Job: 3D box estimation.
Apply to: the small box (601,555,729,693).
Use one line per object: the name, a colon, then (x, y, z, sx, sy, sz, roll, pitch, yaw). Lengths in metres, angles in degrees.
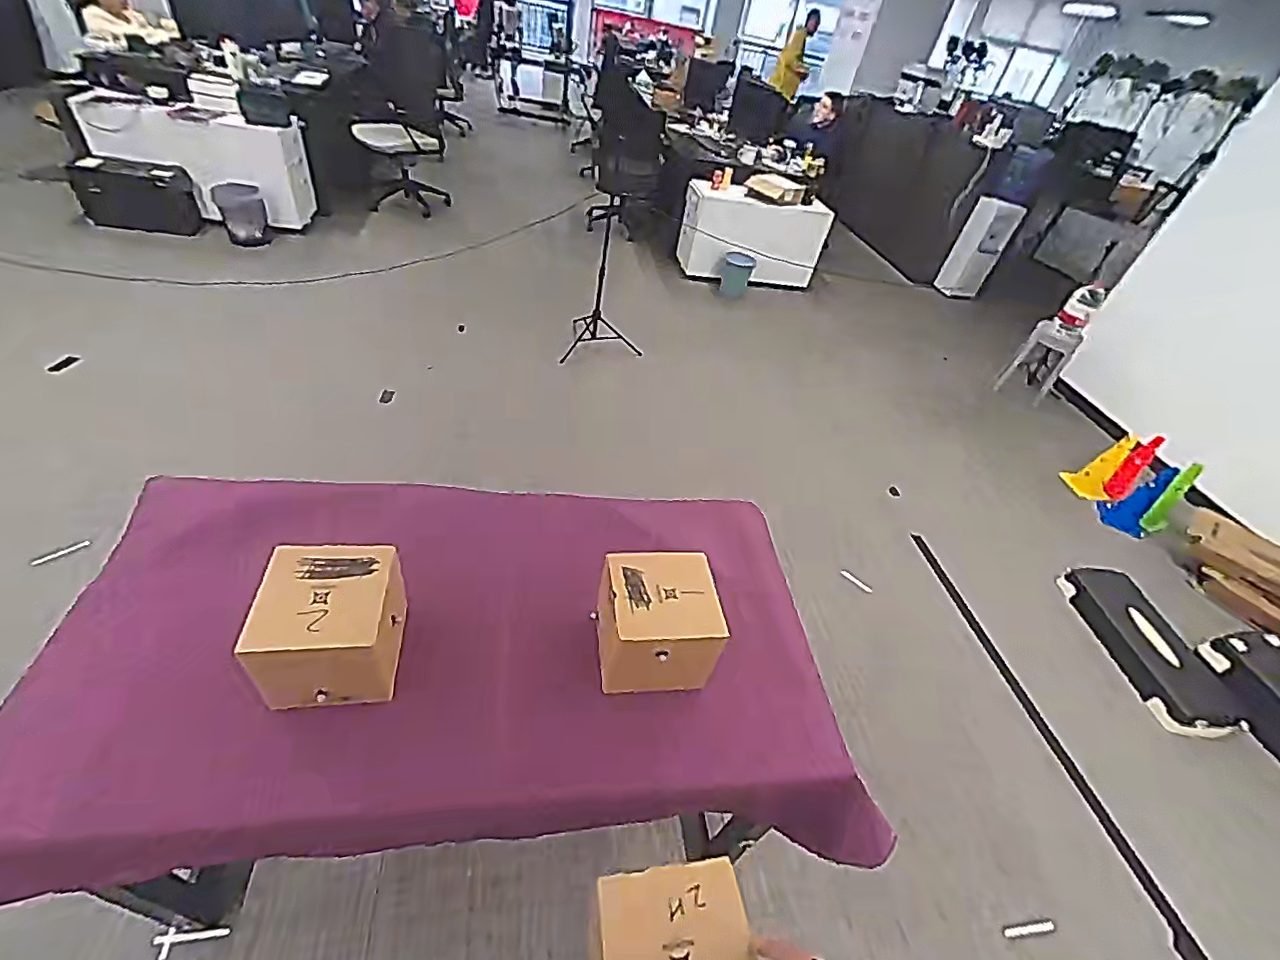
small box: (0.030, 0.243, 0.911, 0.179, 0.176, 0.168, 2, 43, -13)

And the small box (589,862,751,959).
small box: (0.032, 0.581, 0.617, 0.168, 0.176, 0.179, -1, 33, -11)
